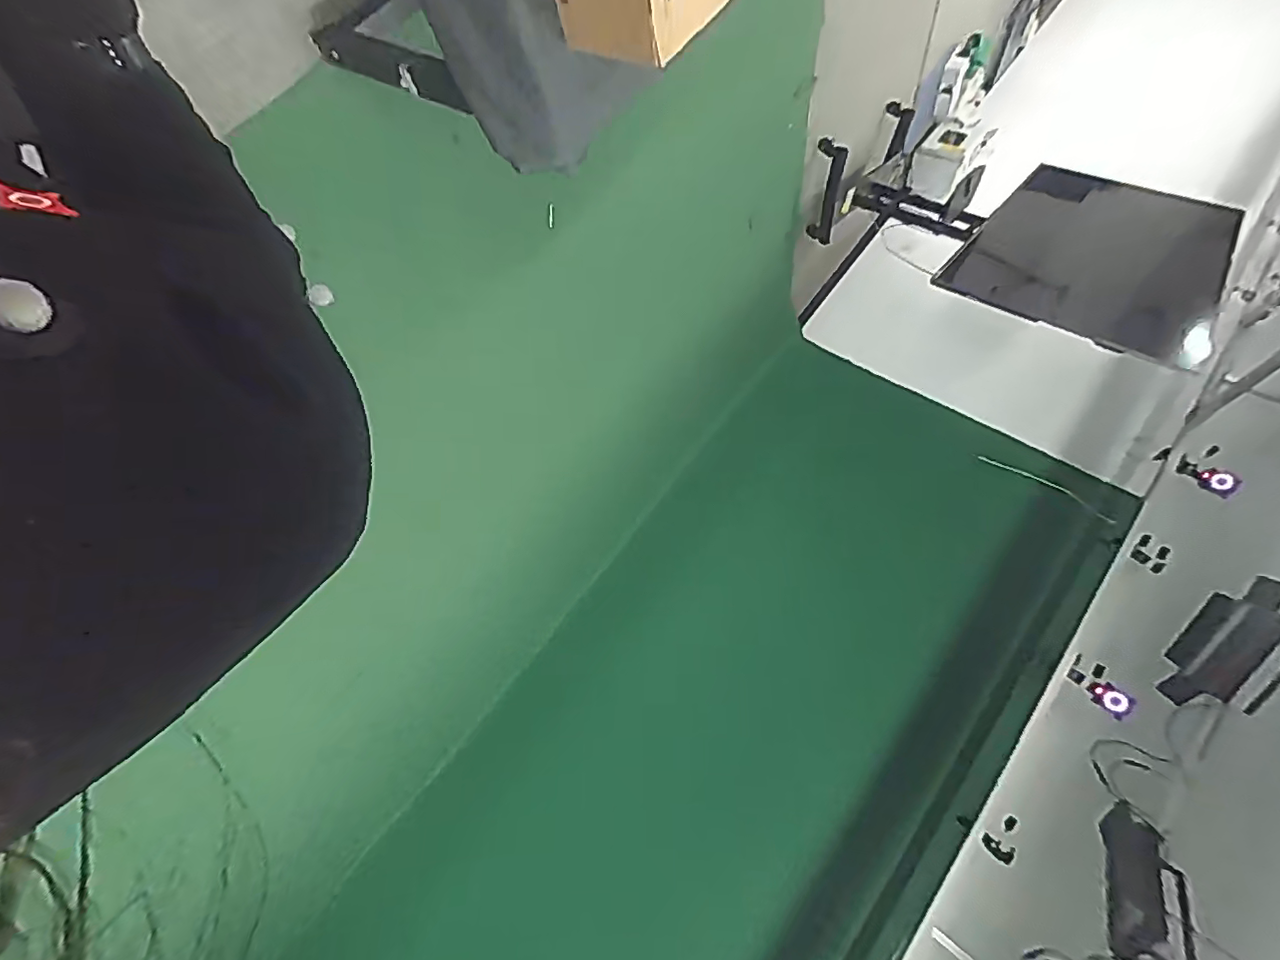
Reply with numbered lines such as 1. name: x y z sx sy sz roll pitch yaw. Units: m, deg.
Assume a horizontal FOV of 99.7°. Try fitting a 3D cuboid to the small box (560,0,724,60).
1. small box: -0.003 -0.678 0.679 0.179 0.176 0.168 -52 157 -14
